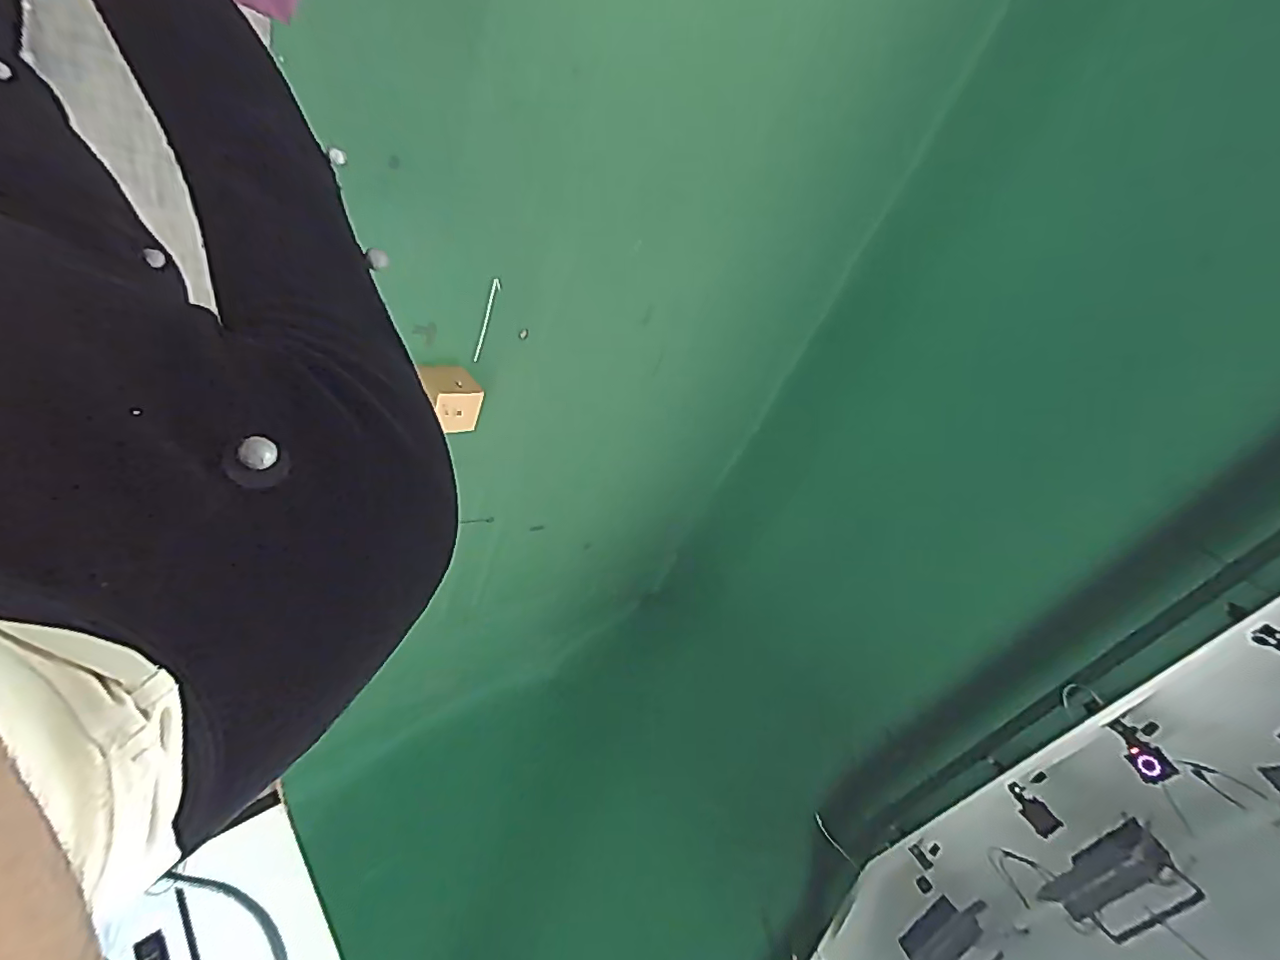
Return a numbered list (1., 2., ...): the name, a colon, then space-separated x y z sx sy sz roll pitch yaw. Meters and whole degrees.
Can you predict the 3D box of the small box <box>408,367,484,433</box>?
1. small box: -0.685 -0.285 1.905 0.179 0.176 0.168 -12 138 -47
